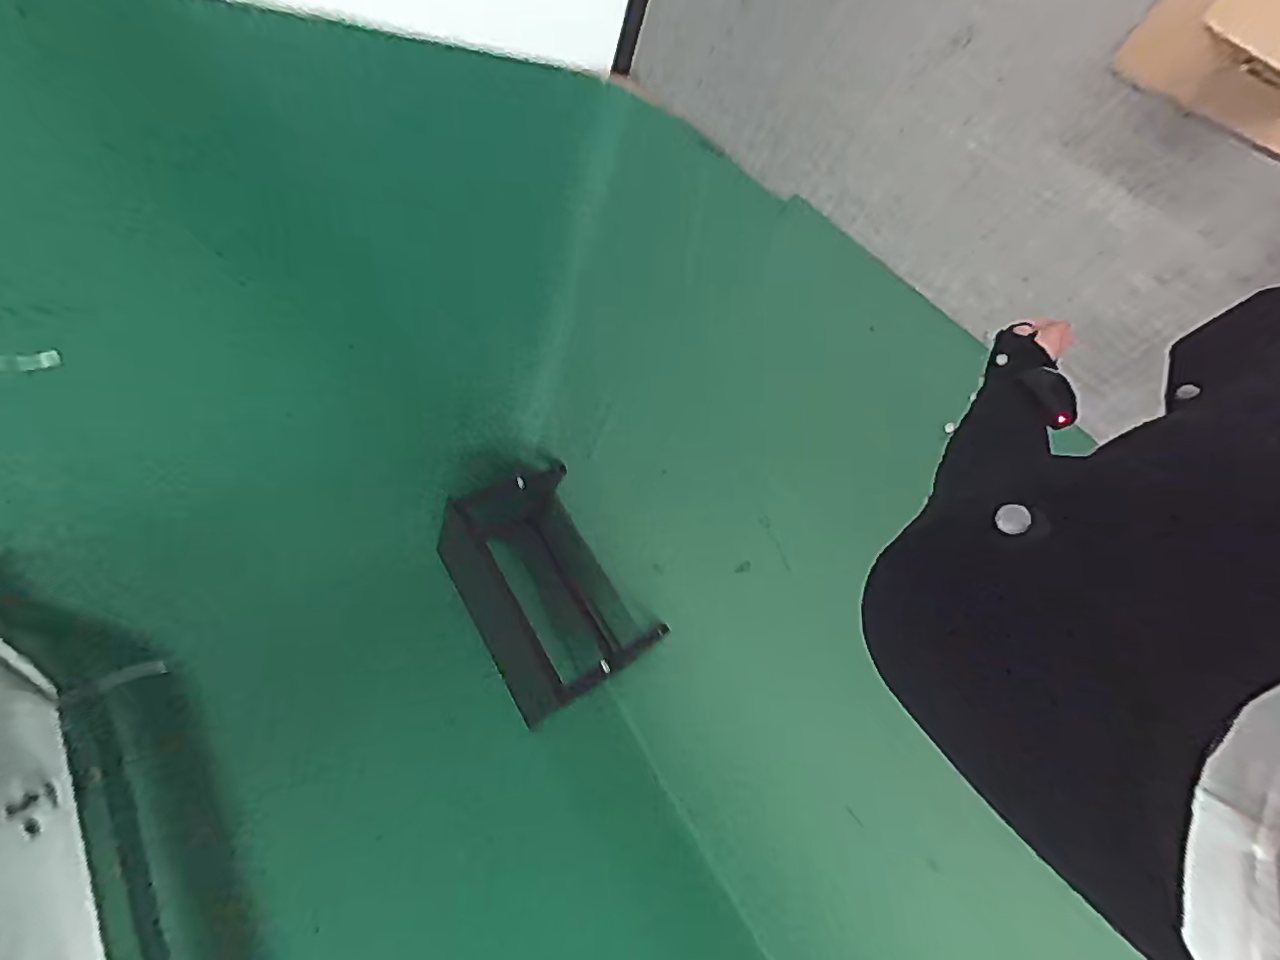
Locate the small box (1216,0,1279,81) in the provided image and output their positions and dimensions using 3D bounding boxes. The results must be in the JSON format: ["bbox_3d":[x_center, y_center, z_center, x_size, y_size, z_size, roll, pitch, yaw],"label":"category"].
[{"bbox_3d":[1.102,-0.760,0.865,0.168,0.176,0.179,55,141,18],"label":"small box"}]
